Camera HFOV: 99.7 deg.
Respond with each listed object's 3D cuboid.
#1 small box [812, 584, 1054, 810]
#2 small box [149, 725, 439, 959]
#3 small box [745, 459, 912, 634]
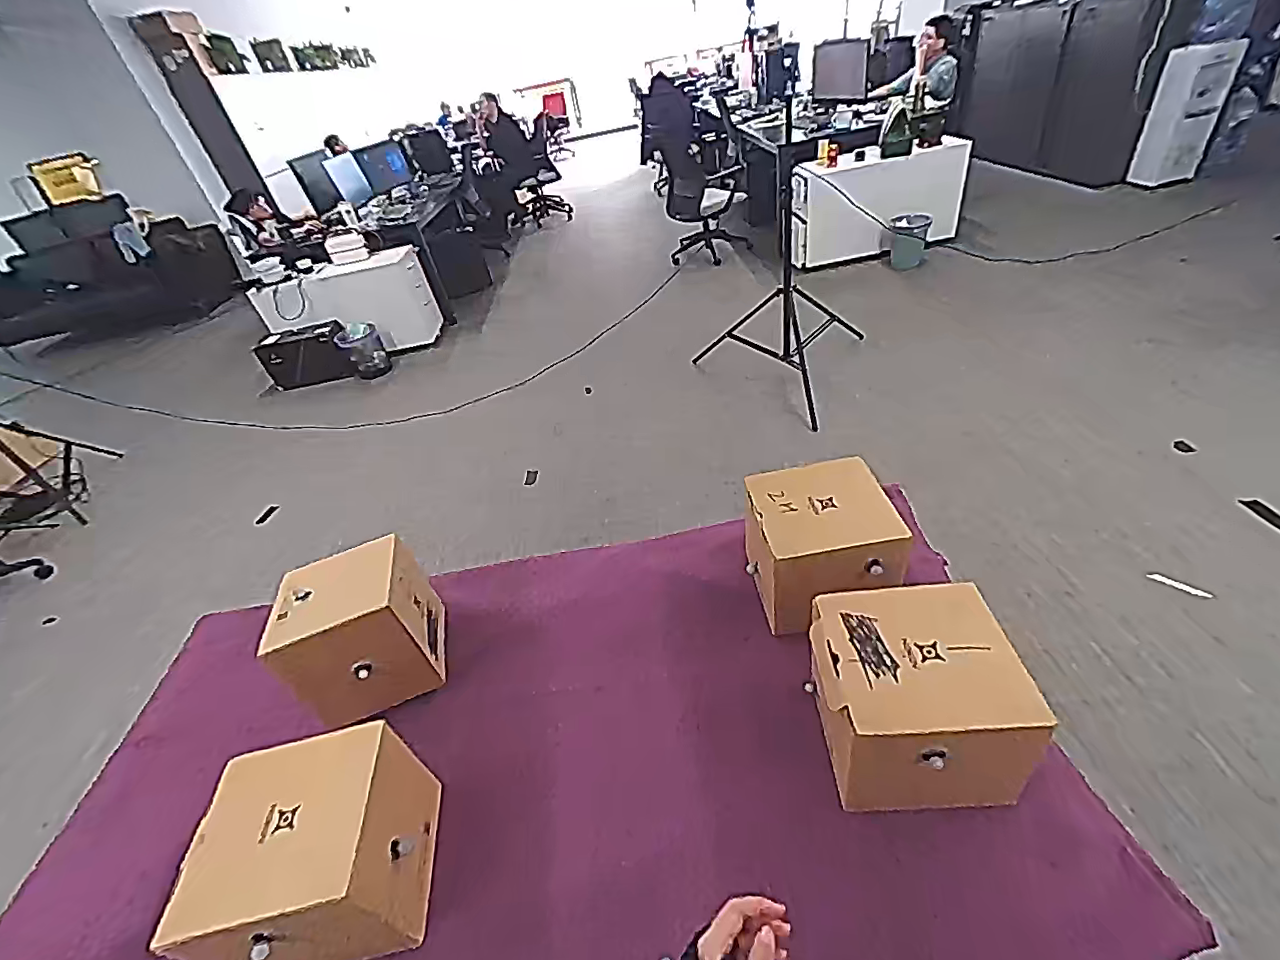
[{"bbox_3d":[0.293,0.237,0.588,0.179,0.176,0.168,-7,37,7],"label":"small box"},{"bbox_3d":[-0.333,0.395,0.571,0.179,0.176,0.168,-14,38,-2],"label":"small box"},{"bbox_3d":[0.254,0.096,0.774,0.179,0.176,0.168,-11,39,2],"label":"small box"}]
